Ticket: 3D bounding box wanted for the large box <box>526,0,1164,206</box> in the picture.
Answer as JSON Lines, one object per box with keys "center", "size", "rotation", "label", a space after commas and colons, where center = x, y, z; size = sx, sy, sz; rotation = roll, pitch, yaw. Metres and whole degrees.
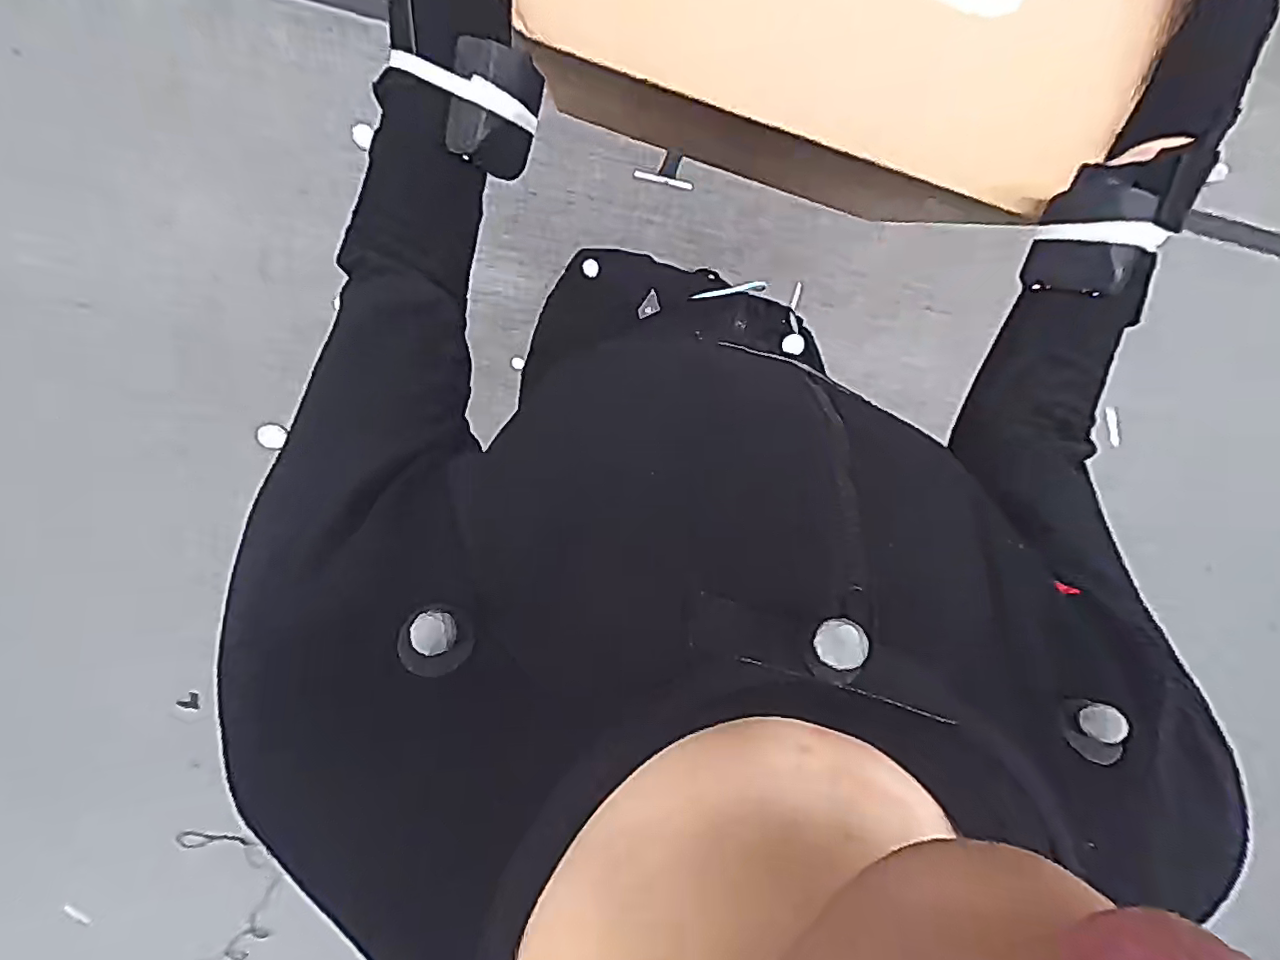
{"center": [0.144, -0.441, 0.439], "size": [0.408, 0.320, 0.320], "rotation": [12, 116, -10], "label": "large box"}
